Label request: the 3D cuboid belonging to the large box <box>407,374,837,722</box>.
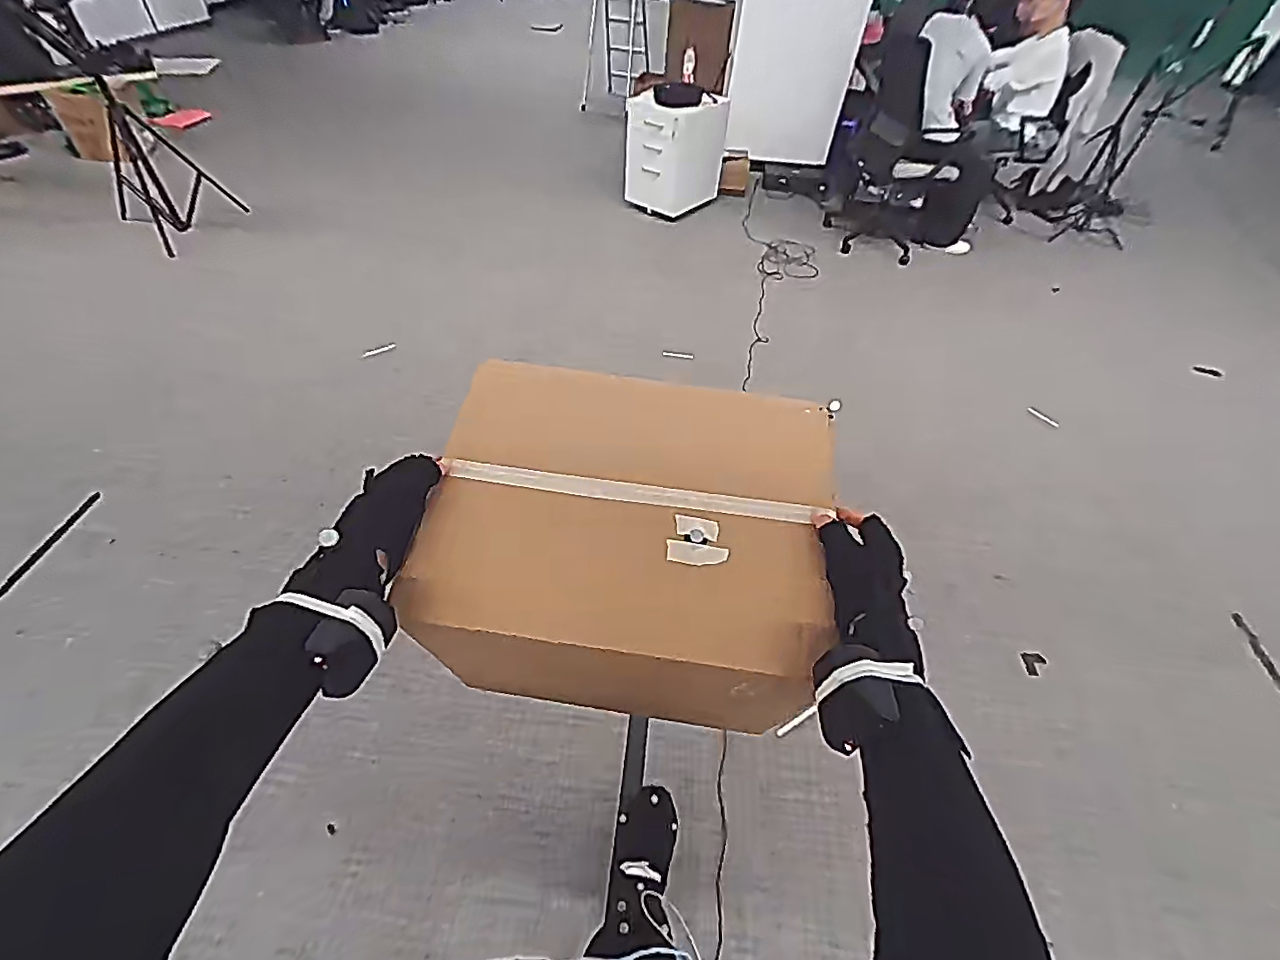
[{"bbox_3d":[-0.010,0.100,0.693,0.408,0.320,0.320,8,58,2],"label":"large box"}]
